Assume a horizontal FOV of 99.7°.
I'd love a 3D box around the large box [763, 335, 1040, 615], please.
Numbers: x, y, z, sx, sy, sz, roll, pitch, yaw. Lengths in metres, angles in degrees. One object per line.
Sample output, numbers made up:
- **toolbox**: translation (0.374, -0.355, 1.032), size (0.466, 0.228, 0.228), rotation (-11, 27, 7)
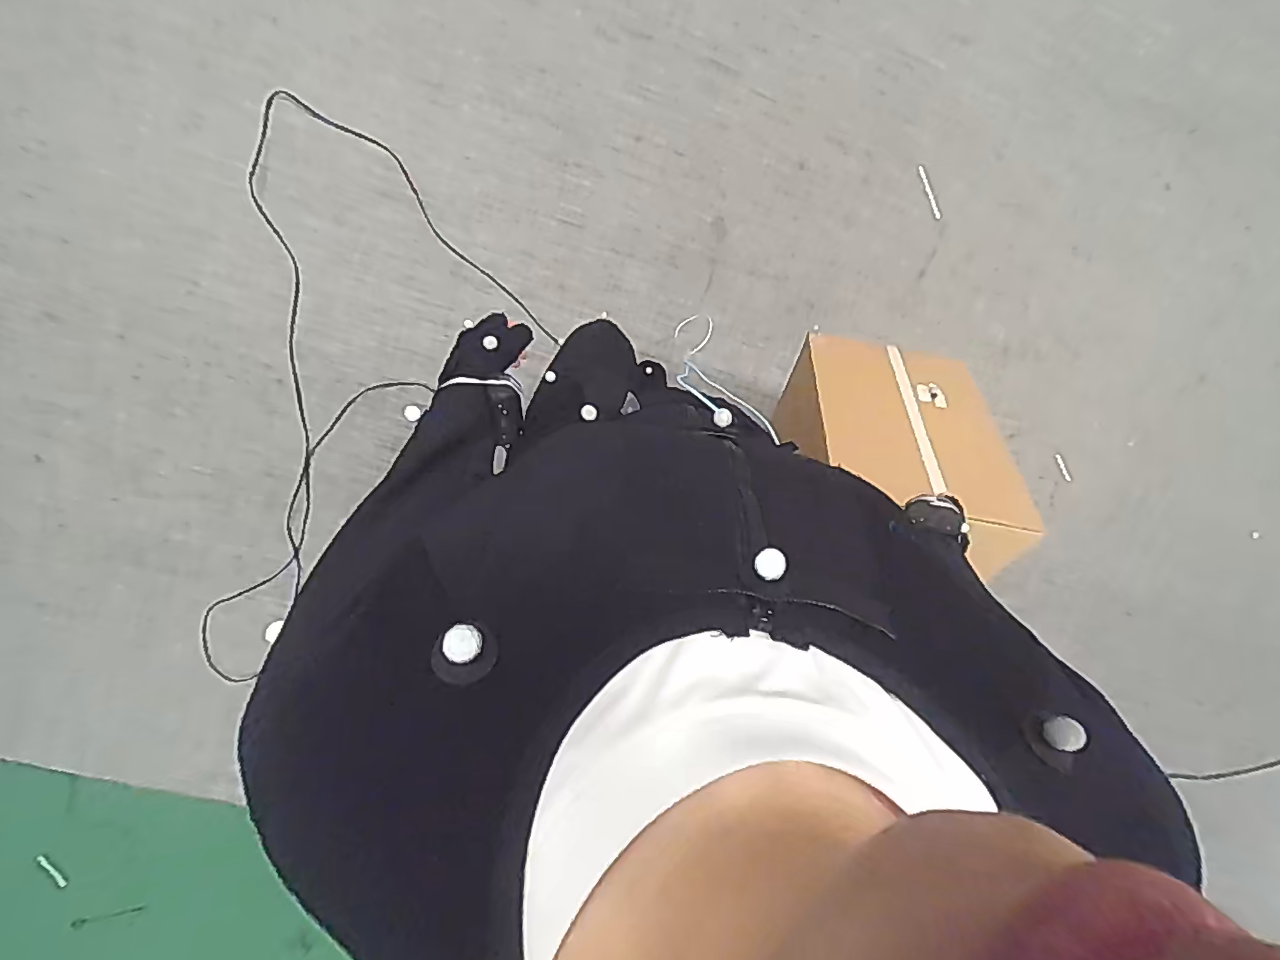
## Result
- **large box**: translation (0.430, -0.007, 1.013), size (0.320, 0.408, 0.320), rotation (10, 140, -2)
